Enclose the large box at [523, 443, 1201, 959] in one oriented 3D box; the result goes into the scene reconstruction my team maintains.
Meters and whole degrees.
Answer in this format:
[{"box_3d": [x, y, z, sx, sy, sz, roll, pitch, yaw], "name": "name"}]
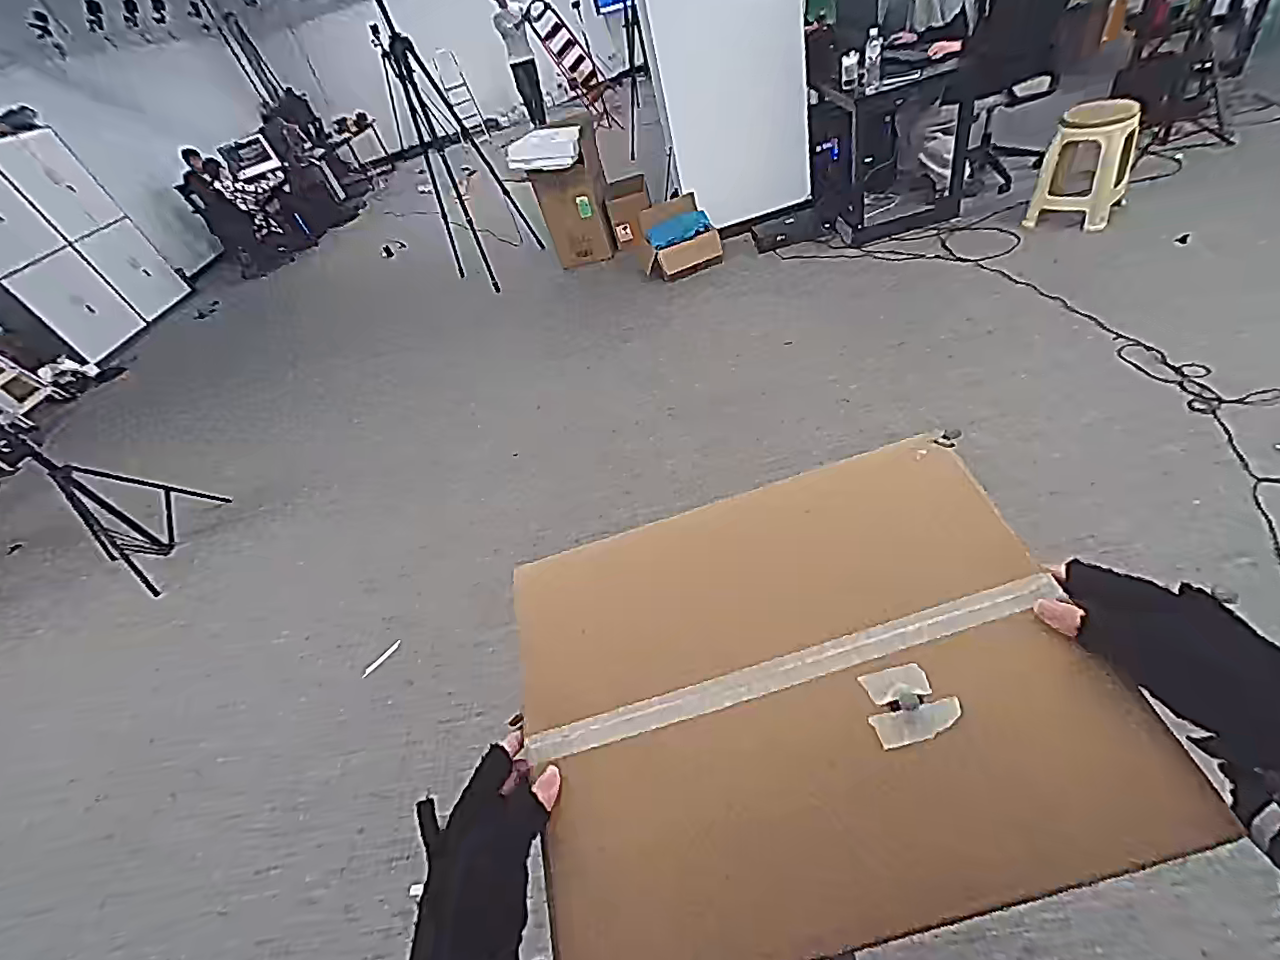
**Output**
[{"box_3d": [0.144, 0.229, 0.533, 0.408, 0.320, 0.320, -19, 55, 2], "name": "large box"}]
